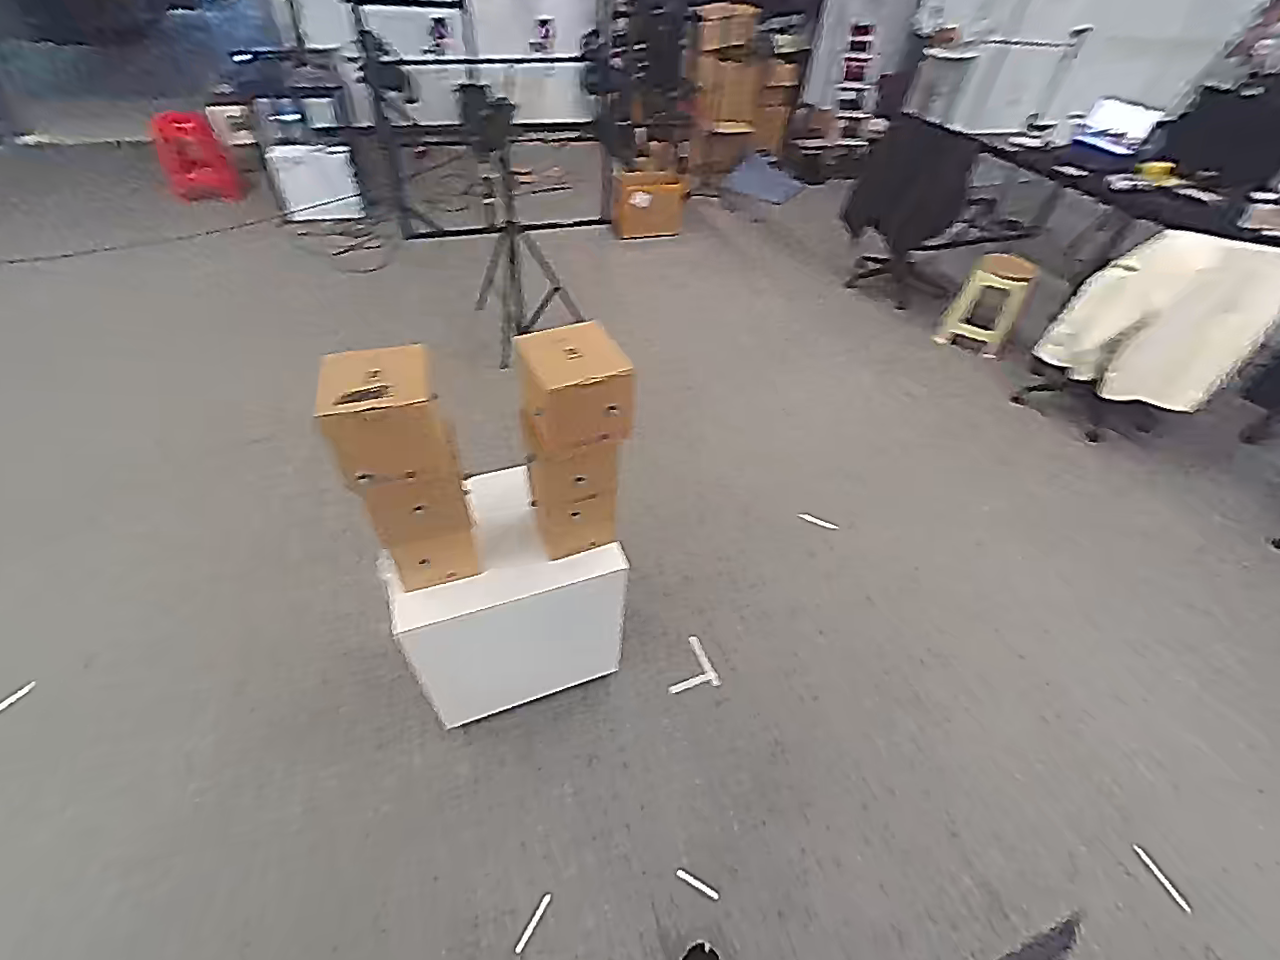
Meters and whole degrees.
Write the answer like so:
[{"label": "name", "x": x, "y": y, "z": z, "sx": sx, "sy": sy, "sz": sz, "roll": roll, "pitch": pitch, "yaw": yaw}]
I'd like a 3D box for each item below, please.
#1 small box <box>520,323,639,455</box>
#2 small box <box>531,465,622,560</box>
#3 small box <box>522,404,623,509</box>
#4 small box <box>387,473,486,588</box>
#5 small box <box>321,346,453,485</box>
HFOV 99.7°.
[{"label": "small box", "x": -0.113, "y": -0.165, "z": 1.017, "sx": 0.168, "sy": 0.176, "sz": 0.179, "roll": -18, "pitch": 50, "yaw": -21}, {"label": "small box", "x": -0.149, "y": 0.056, "z": 1.258, "sx": 0.168, "sy": 0.176, "sz": 0.179, "roll": -16, "pitch": 49, "yaw": -17}, {"label": "small box", "x": -0.140, "y": -0.058, "z": 1.138, "sx": 0.168, "sy": 0.176, "sz": 0.179, "roll": -14, "pitch": 49, "yaw": -17}, {"label": "small box", "x": -0.441, "y": 0.115, "z": 1.179, "sx": 0.168, "sy": 0.176, "sz": 0.179, "roll": -12, "pitch": 48, "yaw": -17}, {"label": "small box", "x": -0.426, "y": -0.107, "z": 0.935, "sx": 0.168, "sy": 0.176, "sz": 0.179, "roll": -10, "pitch": 47, "yaw": -14}]
